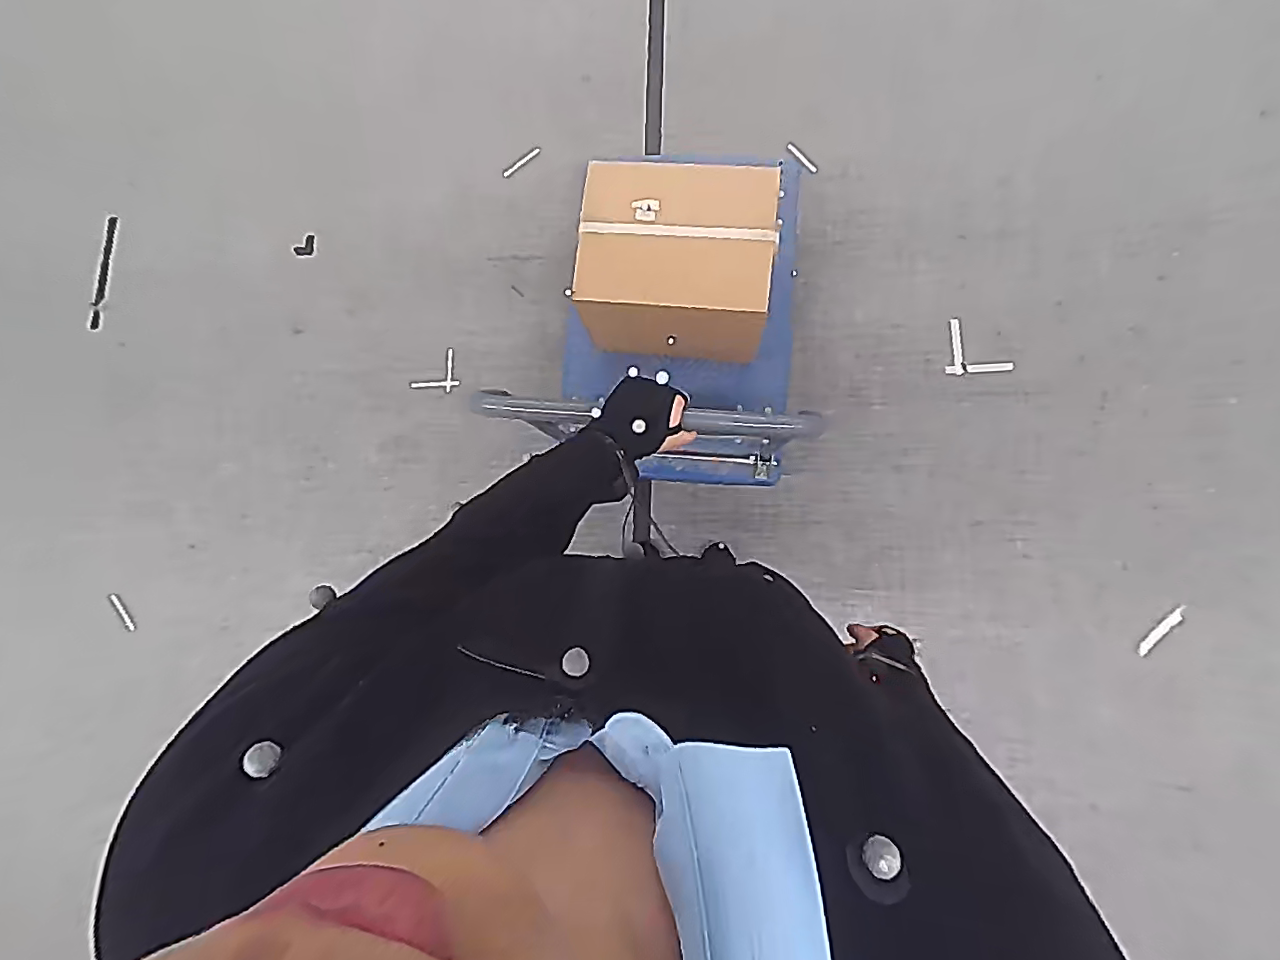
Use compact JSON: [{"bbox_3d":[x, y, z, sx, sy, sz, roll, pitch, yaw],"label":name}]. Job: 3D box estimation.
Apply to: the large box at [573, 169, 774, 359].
[{"bbox_3d":[0.089,-0.487,1.271,0.408,0.320,0.320,6,83,8],"label":"large box"}]
